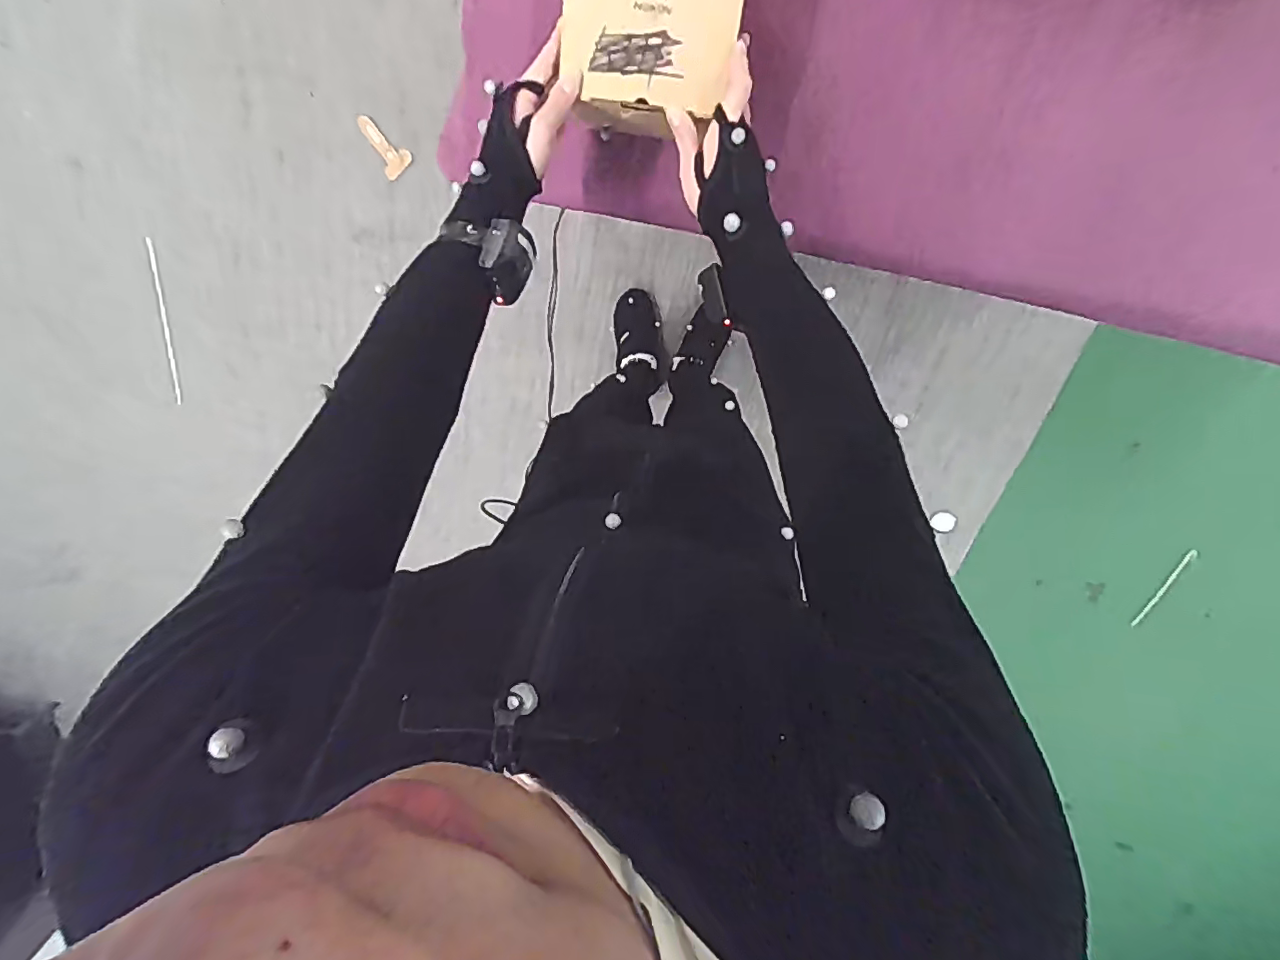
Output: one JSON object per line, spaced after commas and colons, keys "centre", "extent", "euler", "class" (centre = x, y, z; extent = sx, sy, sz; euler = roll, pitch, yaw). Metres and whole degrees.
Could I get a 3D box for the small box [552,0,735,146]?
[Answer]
{"centre": [0.010, -0.470, 0.569], "extent": [0.168, 0.176, 0.179], "euler": [8, 114, 0], "class": "small box"}
